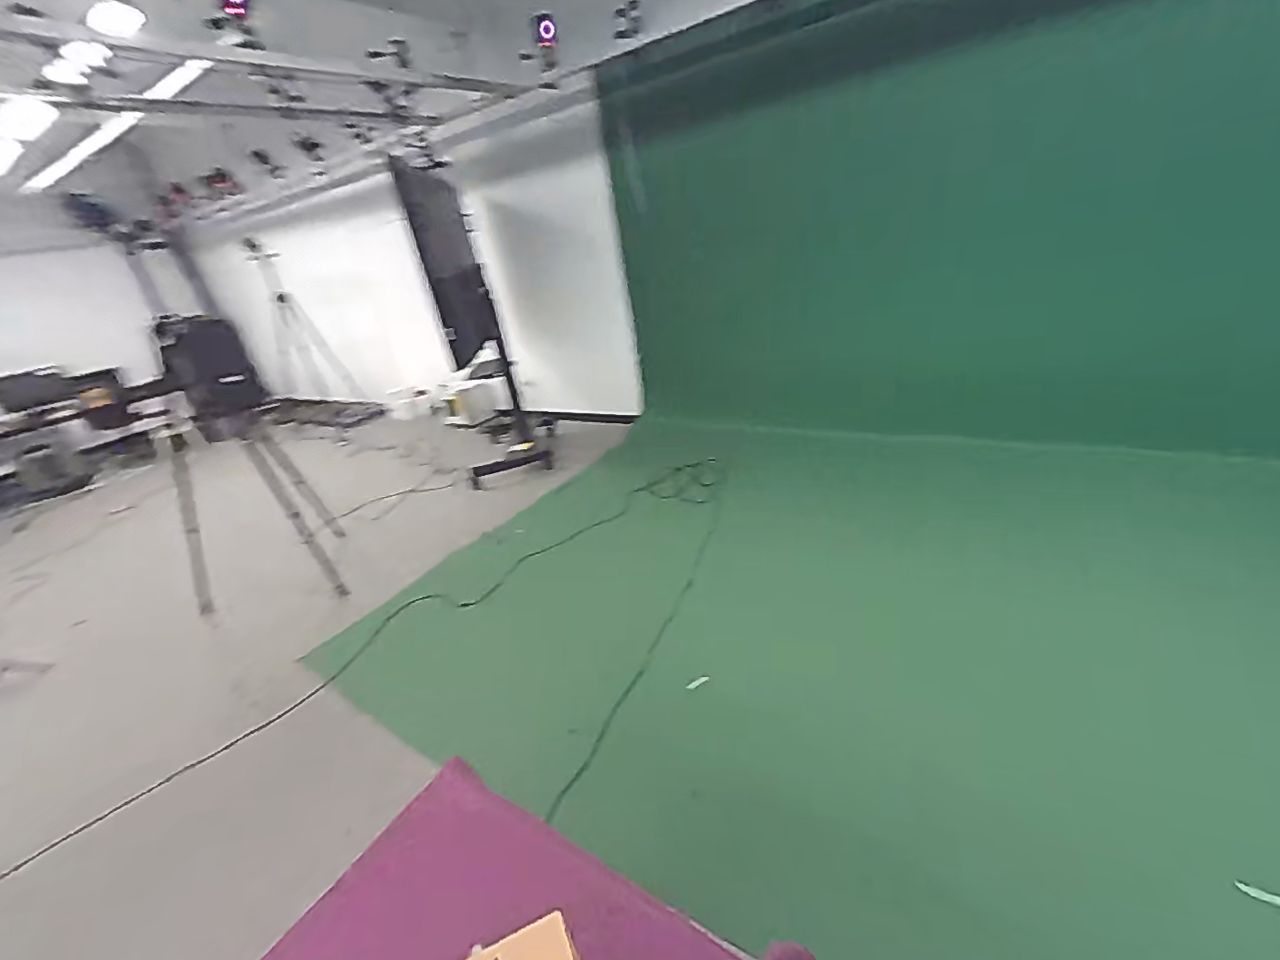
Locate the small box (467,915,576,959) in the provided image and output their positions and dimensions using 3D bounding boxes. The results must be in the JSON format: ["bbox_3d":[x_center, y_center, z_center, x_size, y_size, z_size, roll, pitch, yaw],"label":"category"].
[{"bbox_3d":[-0.091,0.443,0.343,0.168,0.176,0.179,-16,31,-17],"label":"small box"}]
